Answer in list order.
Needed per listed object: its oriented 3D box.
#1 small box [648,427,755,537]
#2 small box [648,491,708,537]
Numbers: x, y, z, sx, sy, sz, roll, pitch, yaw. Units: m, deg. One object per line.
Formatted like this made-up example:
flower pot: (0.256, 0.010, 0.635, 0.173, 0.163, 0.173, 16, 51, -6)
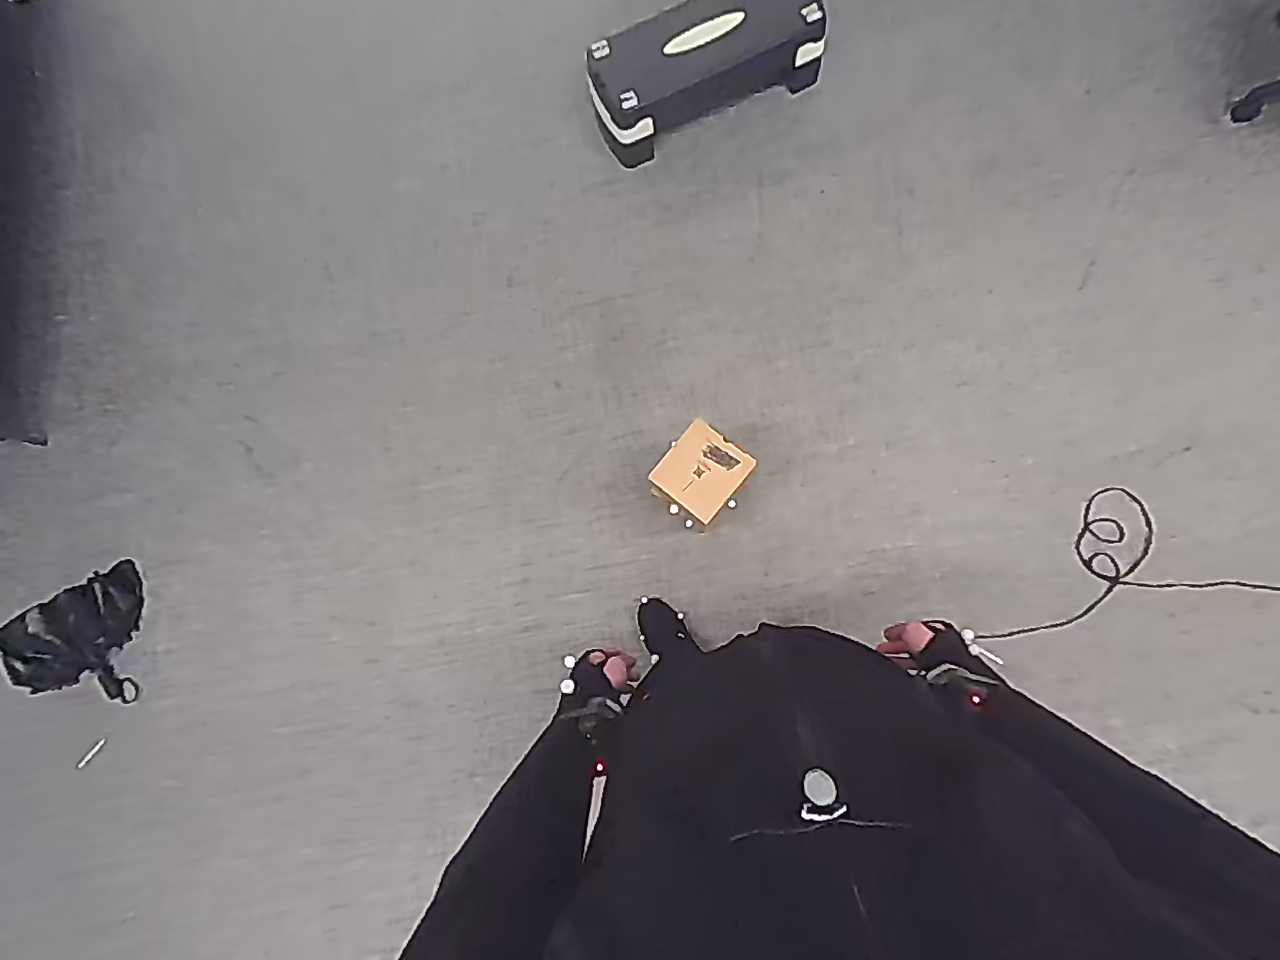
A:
small box: (0.138, 0.011, 1.239, 0.168, 0.176, 0.179, 39, 86, 12)
small box: (0.142, 0.033, 1.402, 0.168, 0.176, 0.179, 32, 82, 11)
